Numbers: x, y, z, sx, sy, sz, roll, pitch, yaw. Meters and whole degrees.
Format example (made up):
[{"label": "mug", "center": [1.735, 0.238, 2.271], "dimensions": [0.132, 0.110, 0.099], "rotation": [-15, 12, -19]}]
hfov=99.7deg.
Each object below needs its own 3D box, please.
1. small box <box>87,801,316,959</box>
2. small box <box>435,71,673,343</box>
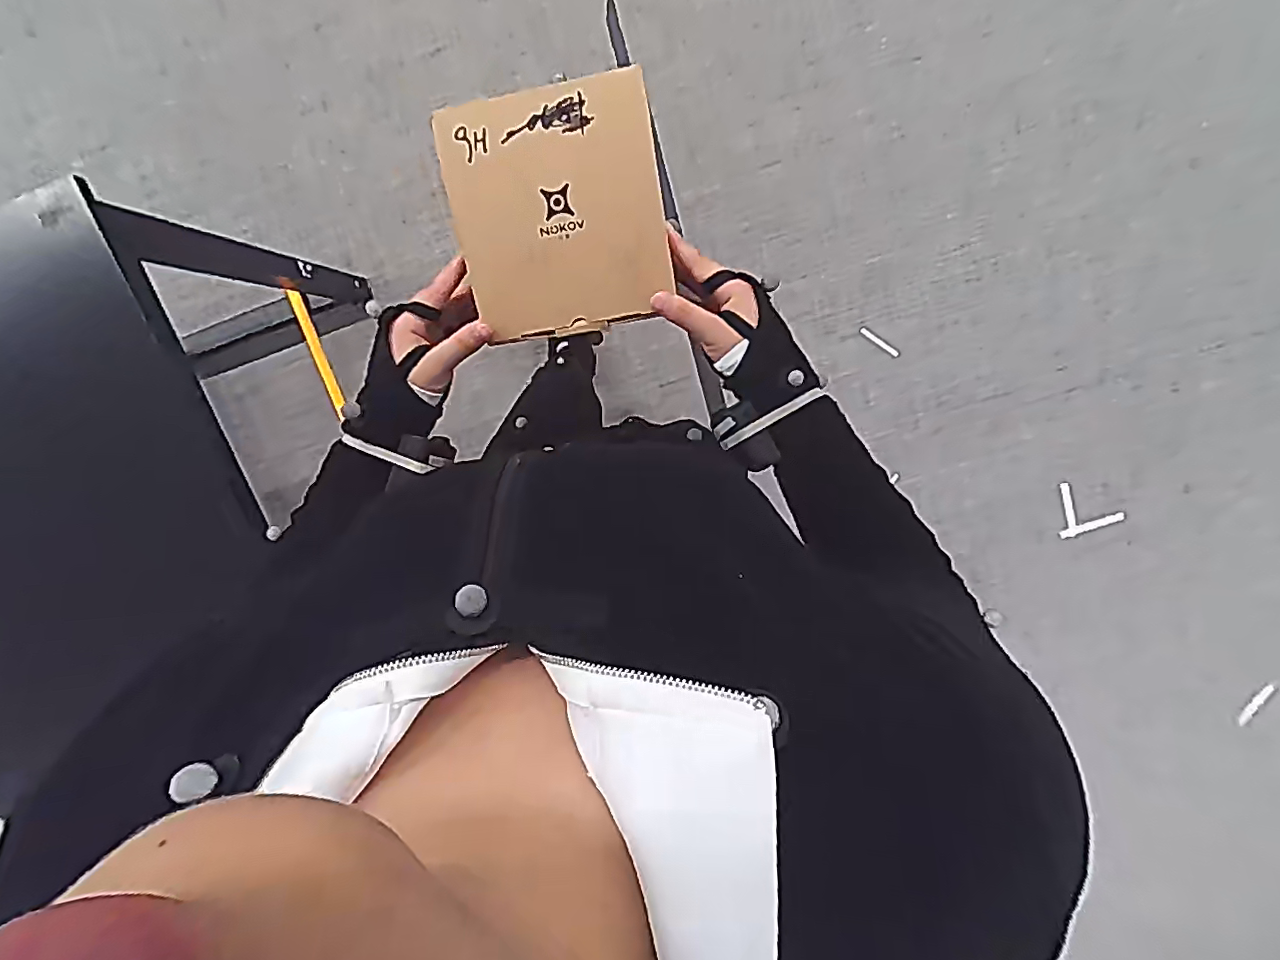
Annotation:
[{"label": "small box", "center": [-0.625, 0.623, 0.799], "dimensions": [0.168, 0.176, 0.179], "rotation": [-16, 100, 4]}, {"label": "small box", "center": [-0.060, -0.235, 0.507], "dimensions": [0.168, 0.176, 0.179], "rotation": [-9, 107, 5]}]
